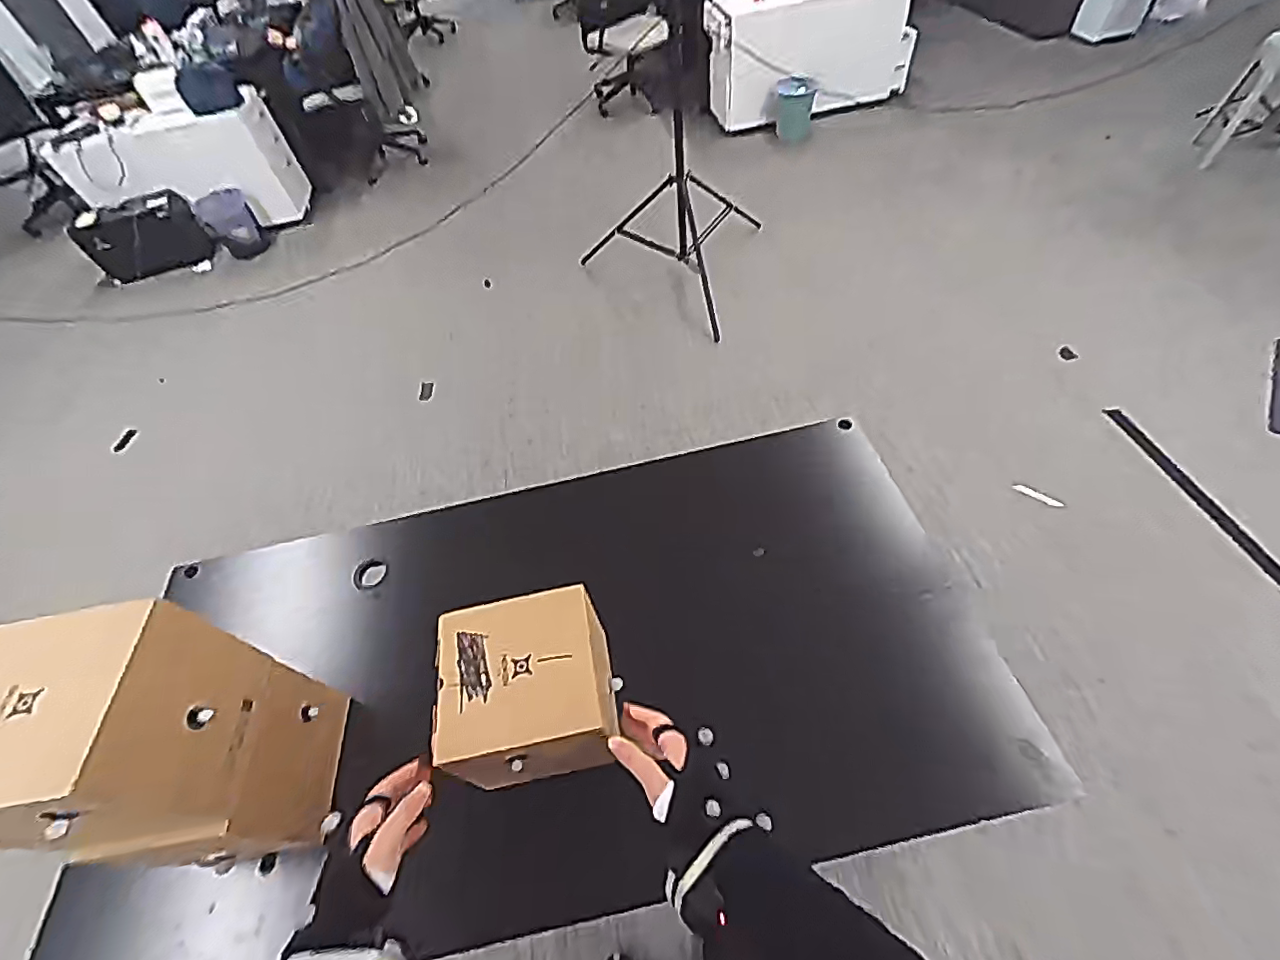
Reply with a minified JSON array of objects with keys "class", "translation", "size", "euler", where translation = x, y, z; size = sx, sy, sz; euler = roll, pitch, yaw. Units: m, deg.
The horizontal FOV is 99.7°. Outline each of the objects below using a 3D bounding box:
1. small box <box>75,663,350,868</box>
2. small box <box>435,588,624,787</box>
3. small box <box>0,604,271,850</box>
[{"class":"small box","translation":[-0.477,0.342,0.642],"size":[0.168,0.176,0.179],"euler":[-11,54,1]},{"class":"small box","translation":[-0.126,0.256,0.655],"size":[0.179,0.176,0.168],"euler":[-12,53,-2]},{"class":"small box","translation":[-0.502,0.240,0.515],"size":[0.179,0.176,0.168],"euler":[-11,52,1]}]
